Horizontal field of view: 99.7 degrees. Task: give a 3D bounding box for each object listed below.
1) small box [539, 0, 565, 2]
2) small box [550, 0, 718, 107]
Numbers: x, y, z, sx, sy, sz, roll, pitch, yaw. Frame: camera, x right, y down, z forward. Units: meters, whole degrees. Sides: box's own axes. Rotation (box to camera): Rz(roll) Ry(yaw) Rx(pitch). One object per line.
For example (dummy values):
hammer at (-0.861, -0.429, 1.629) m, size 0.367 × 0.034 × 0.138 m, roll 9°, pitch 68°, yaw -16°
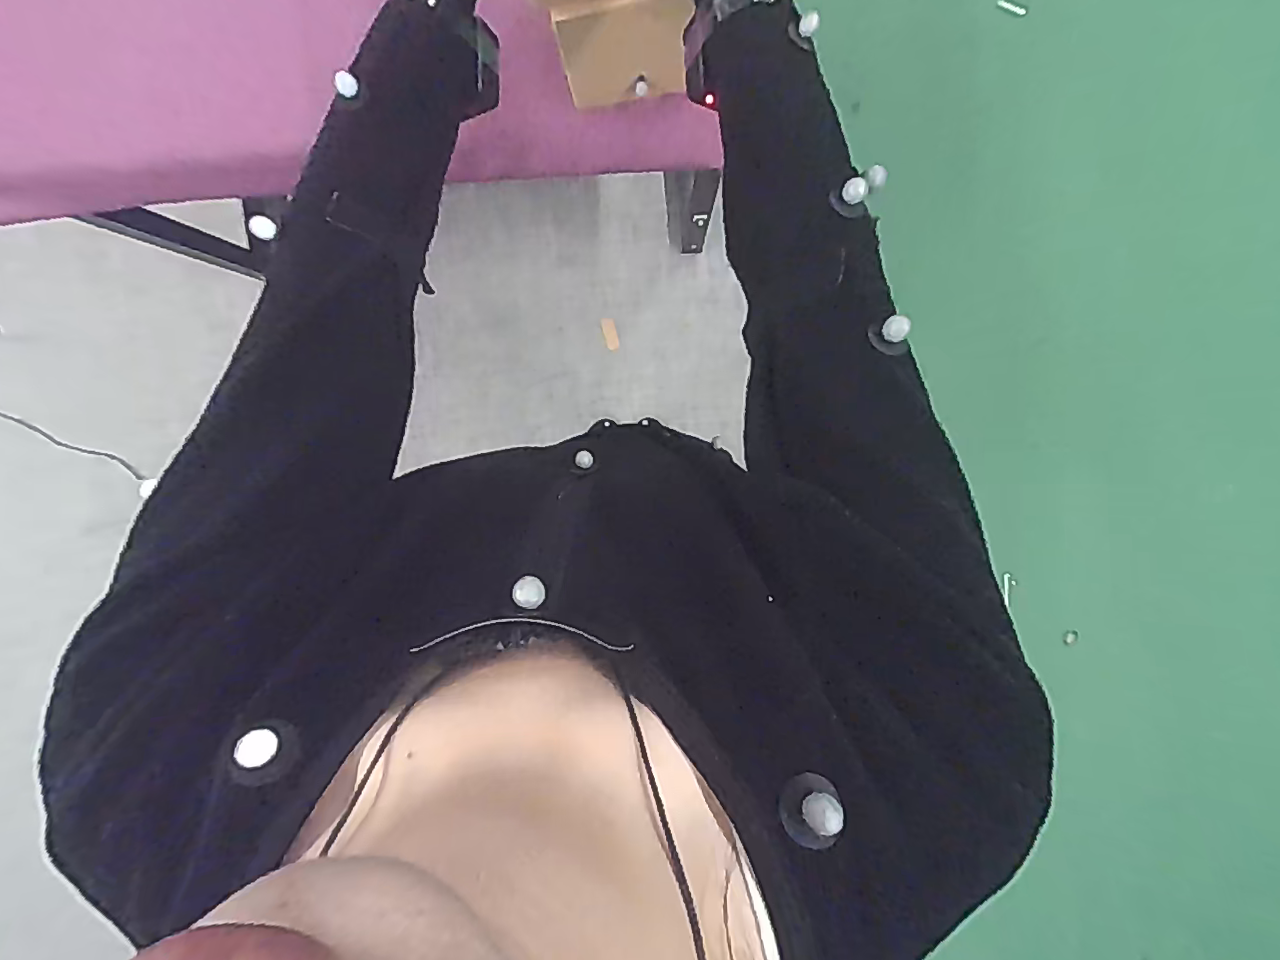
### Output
small box at (-0.032, -0.562, 0.464) m, size 0.179 × 0.176 × 0.168 m, roll -2°, pitch 96°, yaw 3°
small box at (-0.013, -0.574, 0.625) m, size 0.179 × 0.176 × 0.168 m, roll -8°, pitch 96°, yaw 3°
